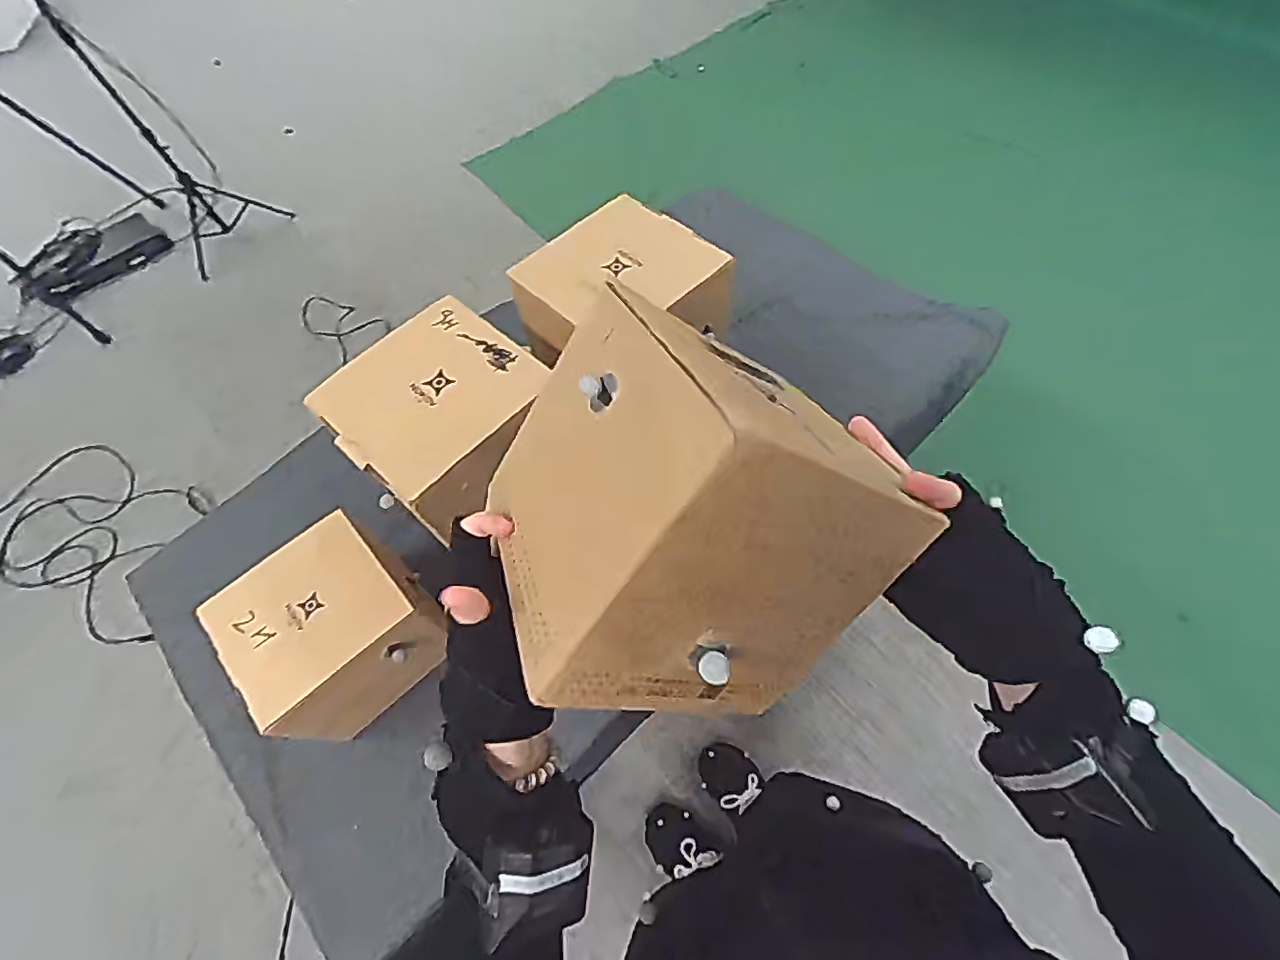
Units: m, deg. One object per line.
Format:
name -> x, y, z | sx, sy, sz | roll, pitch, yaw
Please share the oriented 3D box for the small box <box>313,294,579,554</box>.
small box -> -0.184, -0.050, 0.570 | 0.168, 0.176, 0.179 | 38, 72, 19
